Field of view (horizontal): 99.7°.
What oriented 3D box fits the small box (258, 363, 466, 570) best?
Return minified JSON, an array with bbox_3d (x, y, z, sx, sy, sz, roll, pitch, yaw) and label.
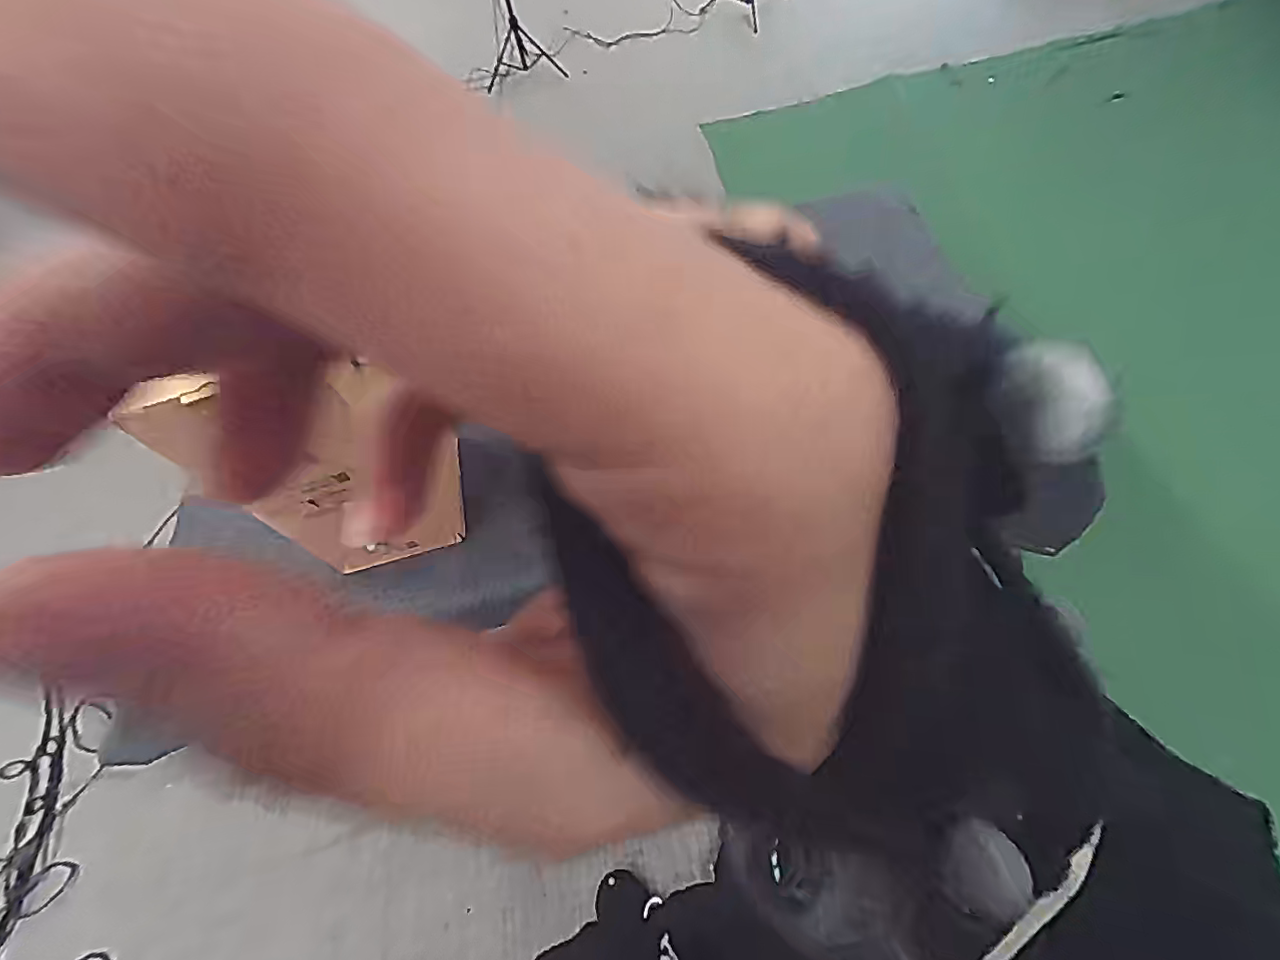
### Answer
[{"bbox_3d":[-0.334,-0.012,0.683,0.168,0.176,0.179,-16,58,-2],"label":"small box"}]
